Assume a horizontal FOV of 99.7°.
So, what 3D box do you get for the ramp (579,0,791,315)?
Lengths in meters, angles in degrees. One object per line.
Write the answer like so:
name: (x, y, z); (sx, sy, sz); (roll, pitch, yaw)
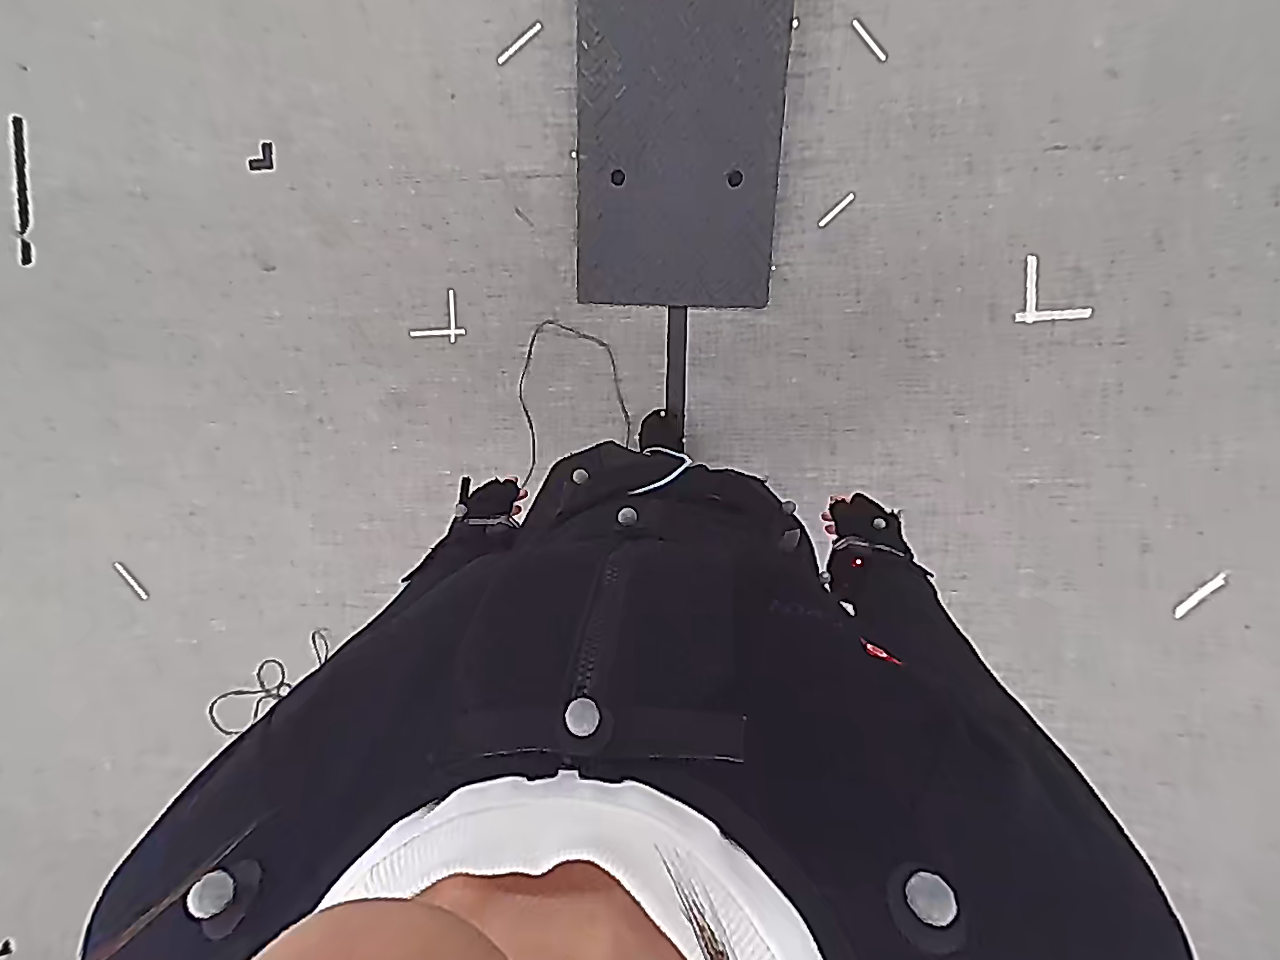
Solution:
ramp: (0.100, -0.916, 1.290); (0.509, 0.206, 0.991); (0, 94, 5)
